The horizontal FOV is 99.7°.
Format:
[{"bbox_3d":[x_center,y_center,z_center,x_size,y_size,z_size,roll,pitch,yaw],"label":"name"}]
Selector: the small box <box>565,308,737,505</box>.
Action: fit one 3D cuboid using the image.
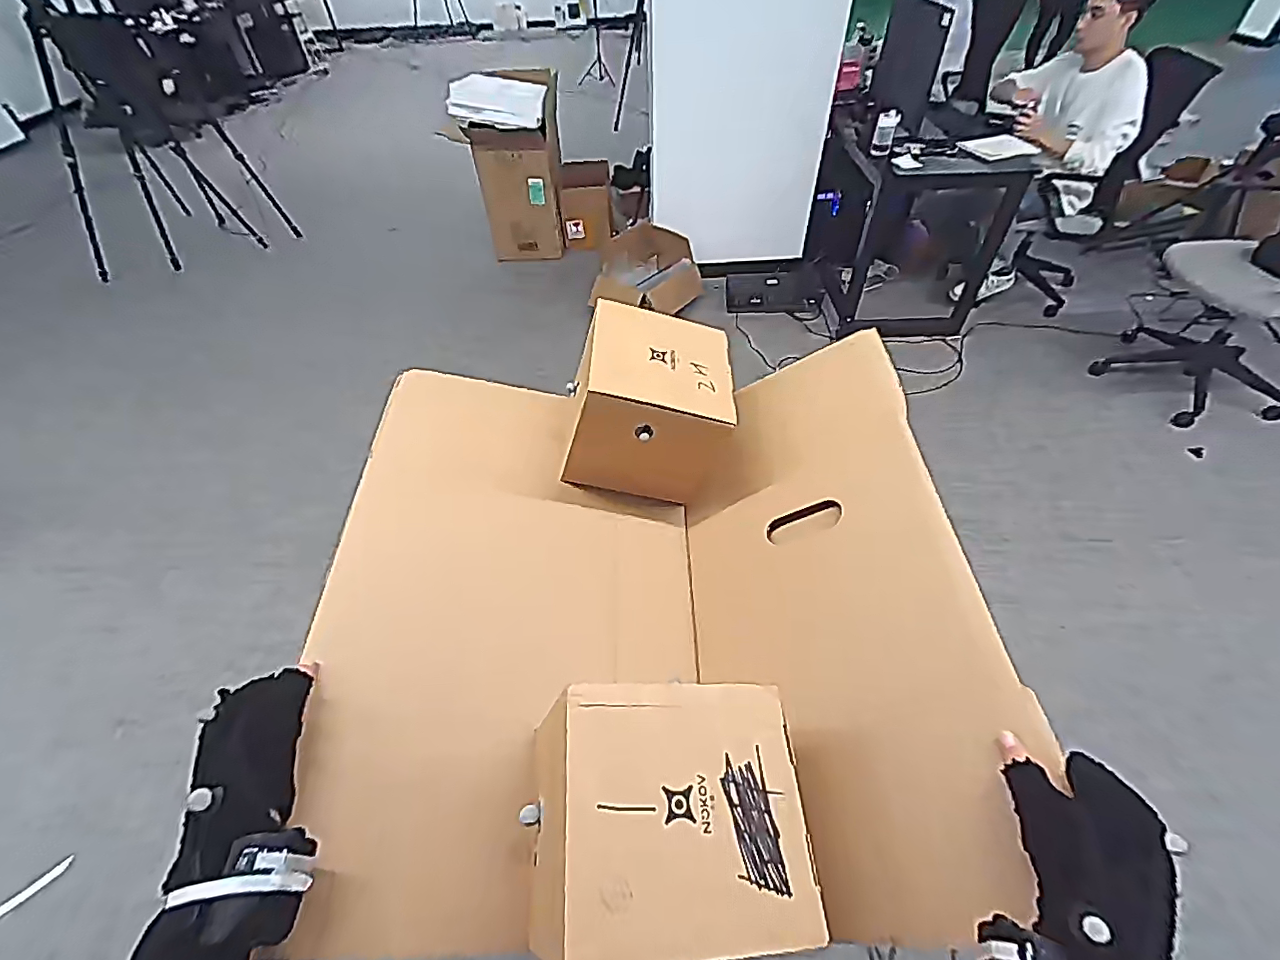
[{"bbox_3d":[0.008,-0.087,0.700,0.179,0.176,0.168,13,52,-12],"label":"small box"}]
